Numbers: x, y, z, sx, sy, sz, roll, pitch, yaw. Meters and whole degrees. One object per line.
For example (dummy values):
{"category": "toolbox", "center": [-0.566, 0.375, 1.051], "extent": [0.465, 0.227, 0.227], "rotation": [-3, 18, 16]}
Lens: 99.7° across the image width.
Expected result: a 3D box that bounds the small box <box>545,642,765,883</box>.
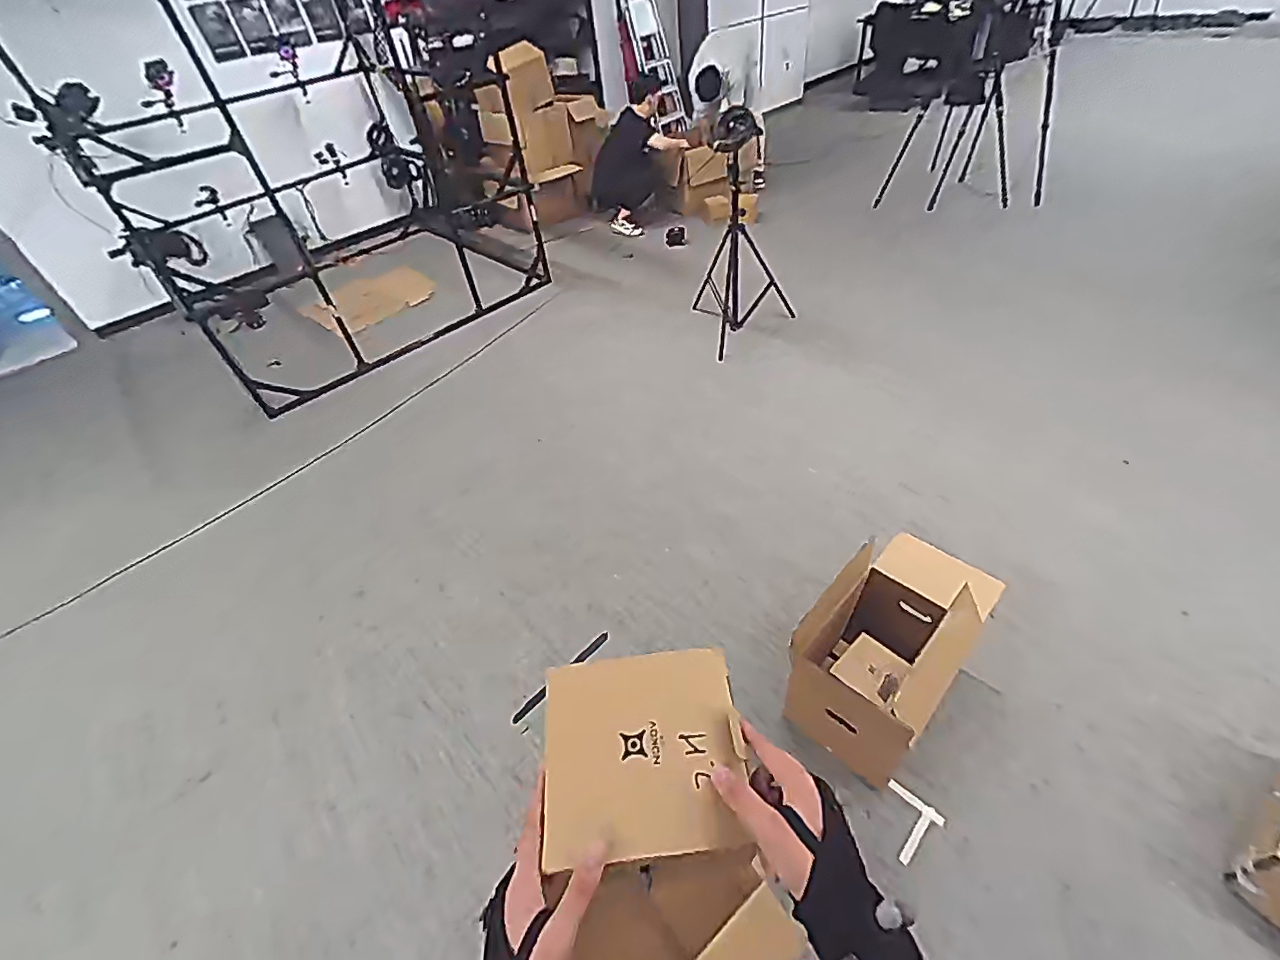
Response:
{"category": "small box", "center": [0.012, 0.279, 0.530], "extent": [0.179, 0.176, 0.168], "rotation": [-6, 49, -1]}
